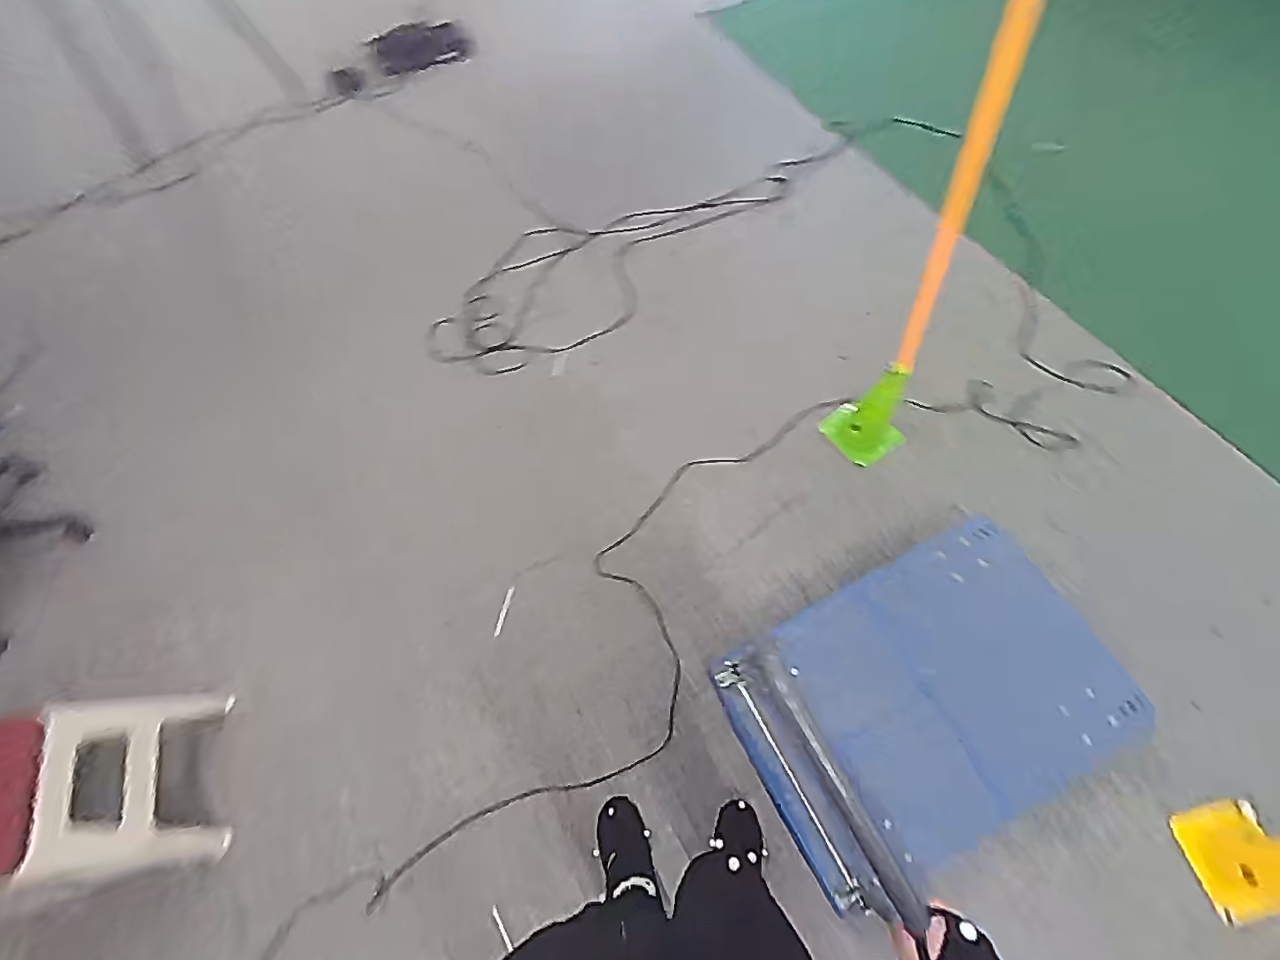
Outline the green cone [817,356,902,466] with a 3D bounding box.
[{"bbox_3d":[0.699,-0.234,1.603,0.200,0.368,0.202,-33,66,-13],"label":"green cone"}]
